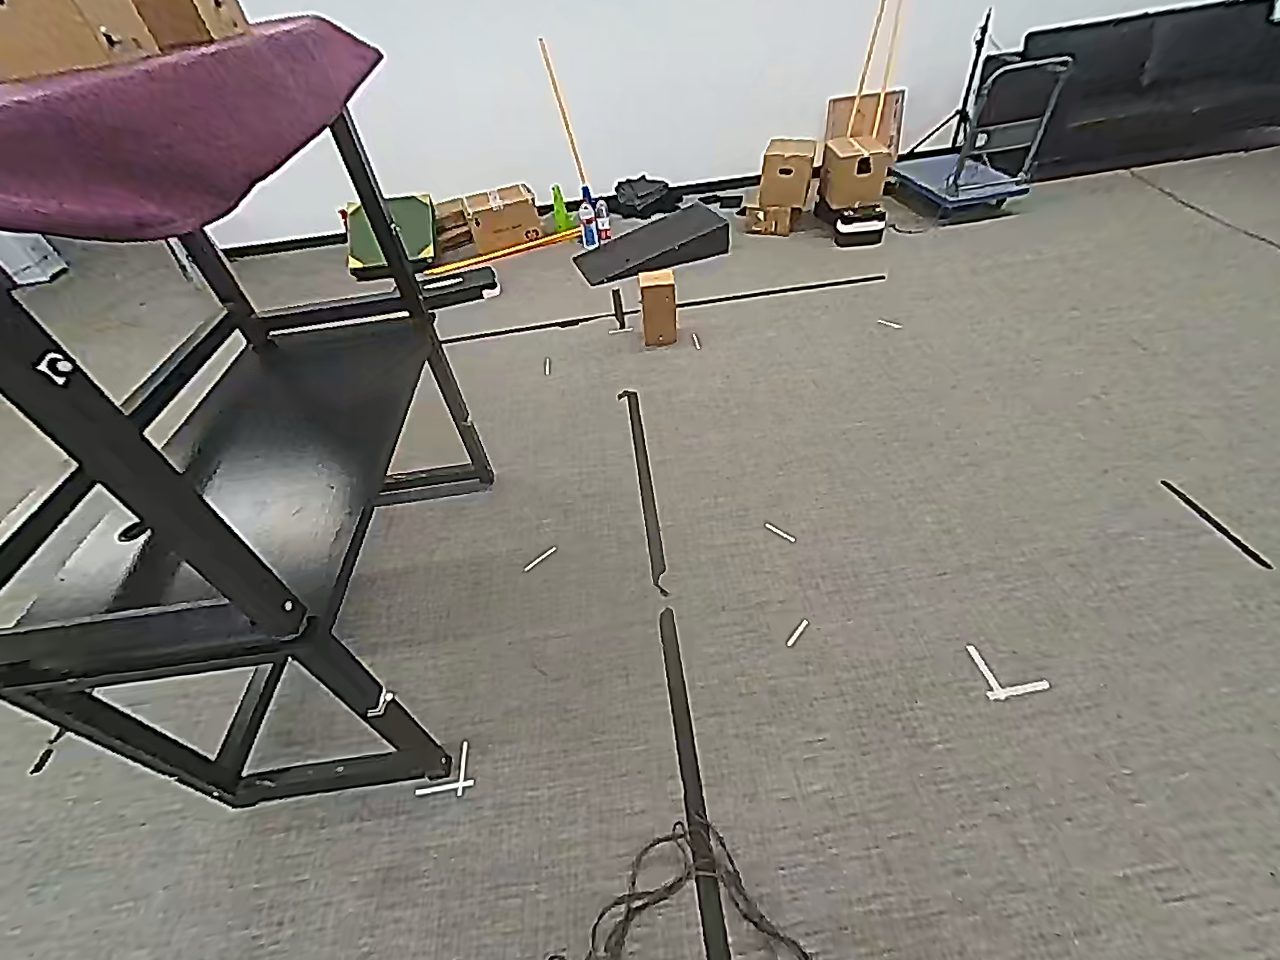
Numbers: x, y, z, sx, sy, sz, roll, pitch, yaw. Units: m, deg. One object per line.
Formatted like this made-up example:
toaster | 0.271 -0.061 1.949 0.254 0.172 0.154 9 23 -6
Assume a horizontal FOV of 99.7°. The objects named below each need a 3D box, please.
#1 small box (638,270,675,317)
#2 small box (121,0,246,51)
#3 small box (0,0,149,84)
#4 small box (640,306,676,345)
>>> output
small box | 0.086 -0.954 2.771 0.179 0.176 0.168 -5 44 2
small box | -0.928 -0.952 1.047 0.179 0.176 0.168 -6 45 3
small box | -0.910 -0.719 0.810 0.179 0.176 0.168 -12 44 -3
small box | 0.095 -0.839 2.887 0.179 0.176 0.168 -7 44 -1
